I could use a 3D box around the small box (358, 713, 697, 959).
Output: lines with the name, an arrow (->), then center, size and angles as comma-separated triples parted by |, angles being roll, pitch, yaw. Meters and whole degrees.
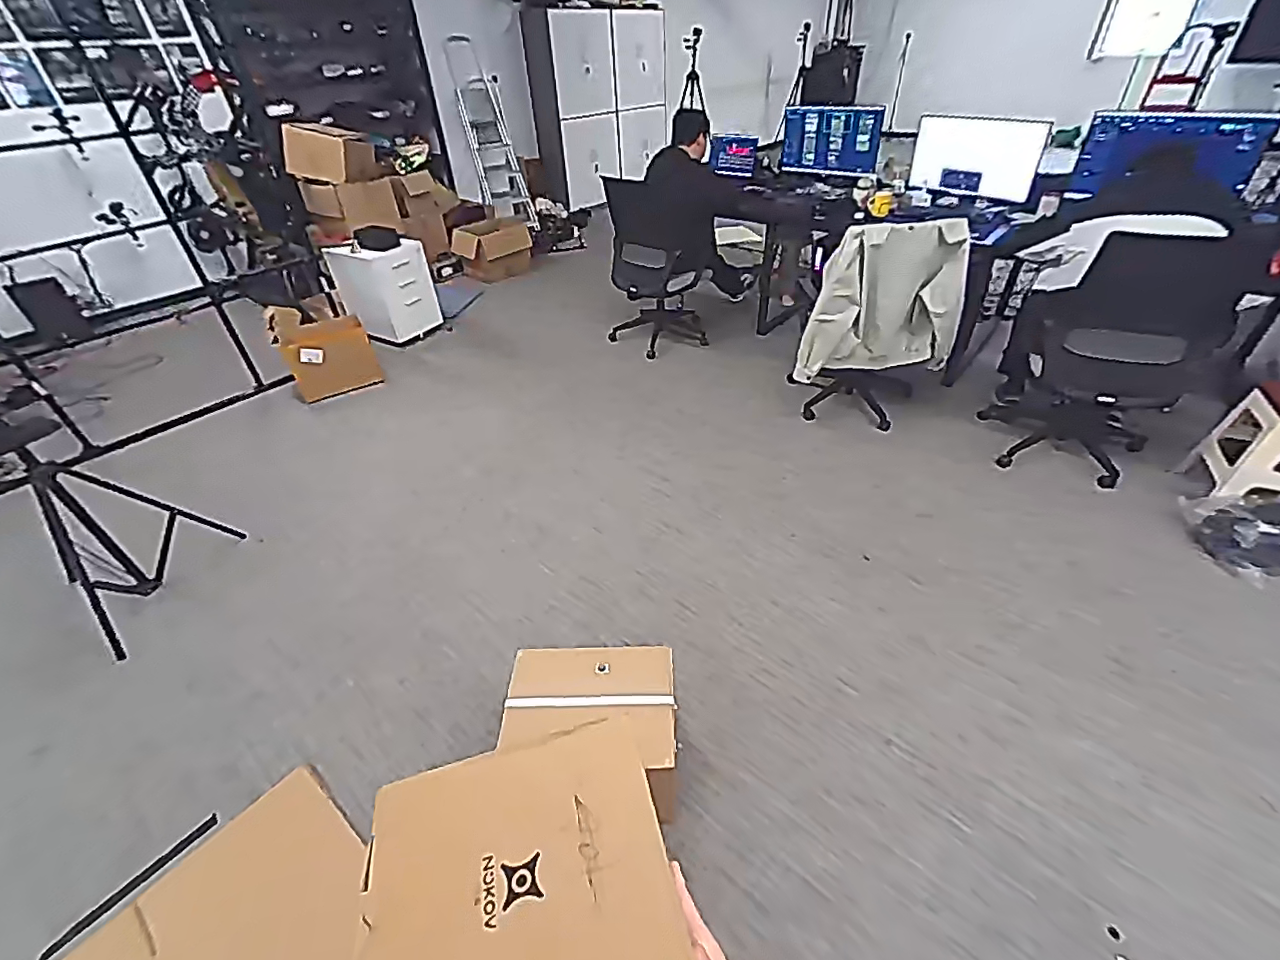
small box -> -0.061, 0.293, 0.353 | 0.179, 0.176, 0.168 | -13, 37, -9
